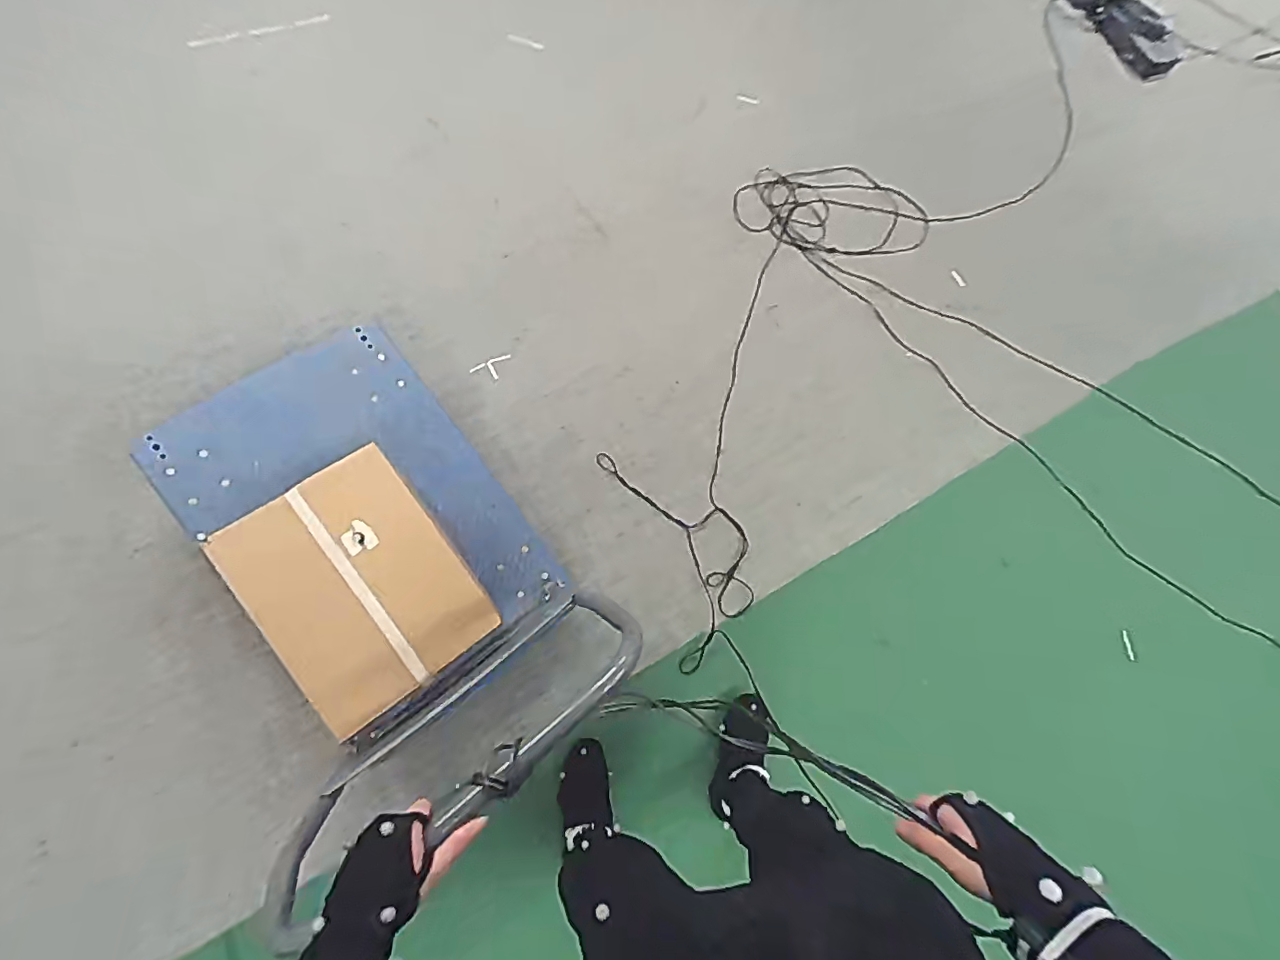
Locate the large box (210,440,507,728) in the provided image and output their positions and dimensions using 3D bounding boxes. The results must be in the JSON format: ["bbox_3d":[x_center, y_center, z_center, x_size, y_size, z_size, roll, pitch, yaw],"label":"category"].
[{"bbox_3d":[-0.507,0.196,1.073,0.320,0.320,0.408,-36,89,-18],"label":"large box"}]
